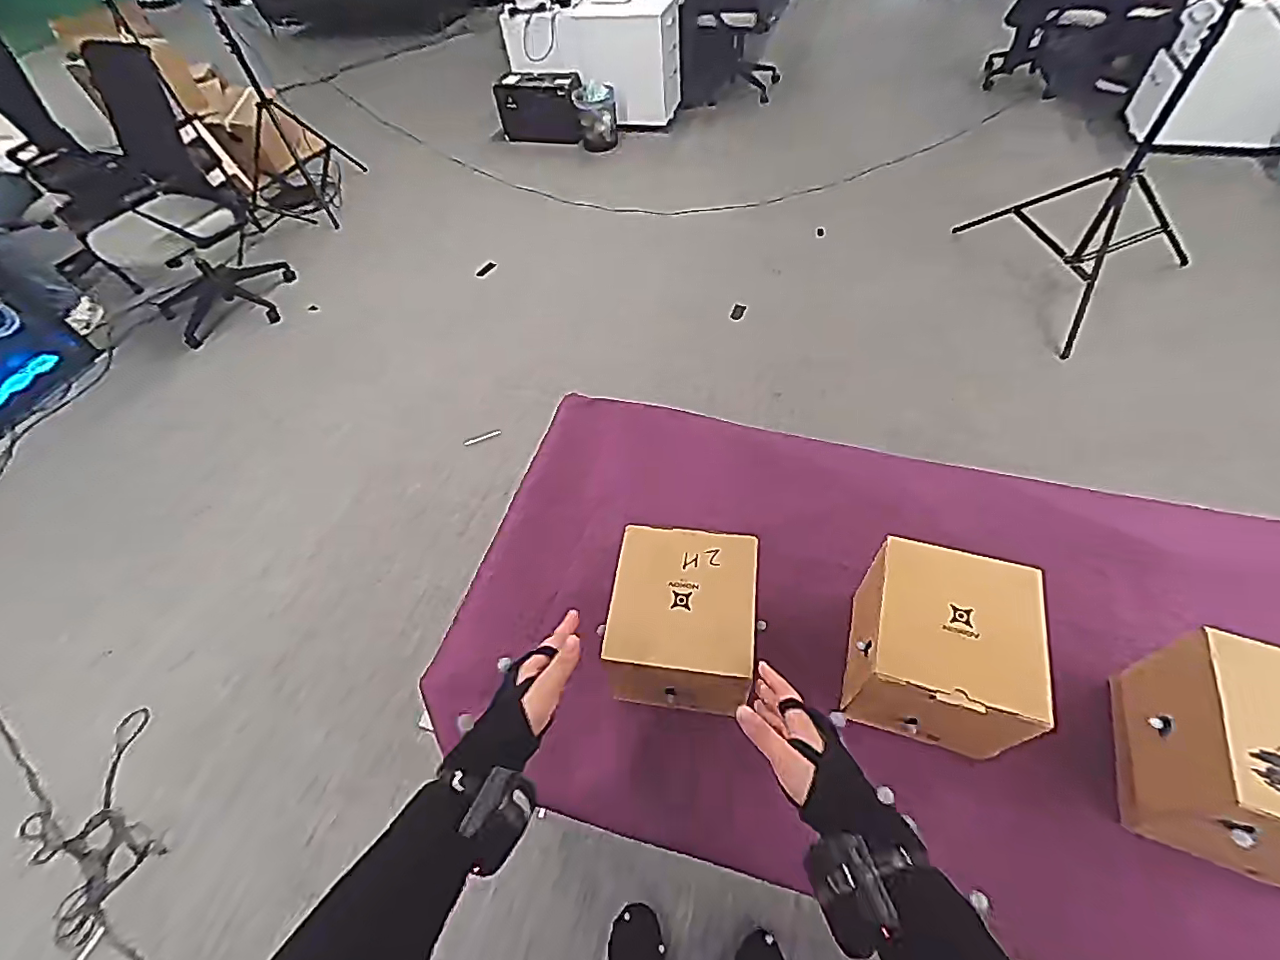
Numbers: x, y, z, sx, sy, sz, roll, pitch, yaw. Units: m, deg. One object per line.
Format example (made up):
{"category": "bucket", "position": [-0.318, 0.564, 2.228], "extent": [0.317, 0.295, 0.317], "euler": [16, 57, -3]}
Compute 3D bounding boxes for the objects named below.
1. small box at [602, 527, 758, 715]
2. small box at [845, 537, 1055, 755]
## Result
{"category": "small box", "position": [0.058, 0.182, 0.687], "extent": [0.168, 0.176, 0.179], "euler": [5, 53, 9]}
{"category": "small box", "position": [0.353, 0.200, 0.645], "extent": [0.168, 0.176, 0.179], "euler": [13, 56, 15]}
